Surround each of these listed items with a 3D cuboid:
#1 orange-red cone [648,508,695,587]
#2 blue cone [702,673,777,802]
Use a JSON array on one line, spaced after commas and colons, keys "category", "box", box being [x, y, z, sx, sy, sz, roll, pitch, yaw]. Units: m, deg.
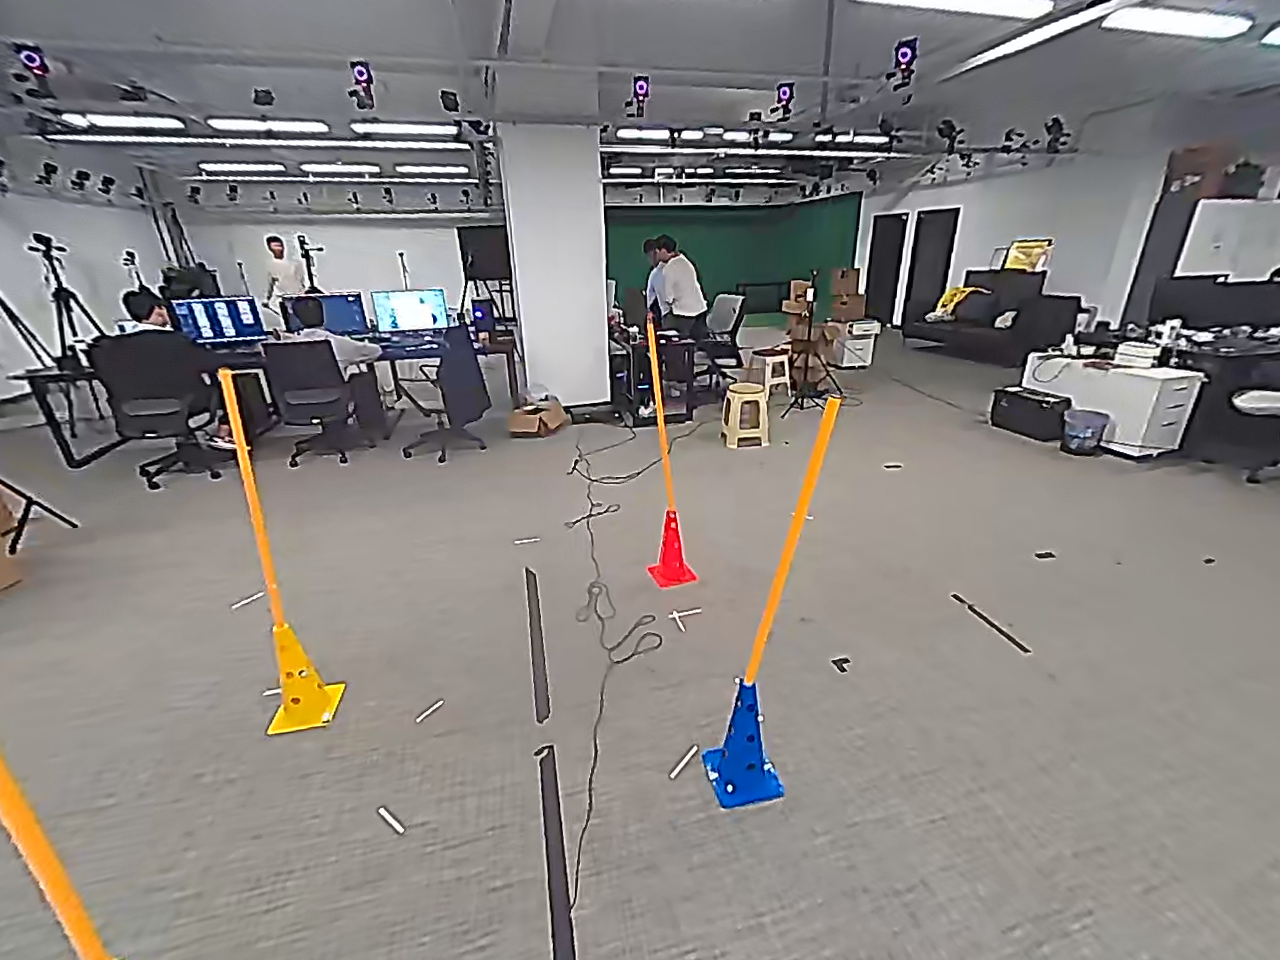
[{"category": "orange-red cone", "box": [0.146, 0.305, 2.592, 0.199, 0.360, 0.198, -10, 23, -16]}, {"category": "blue cone", "box": [0.296, 0.730, 1.577, 0.193, 0.380, 0.192, -6, 22, -10]}]
